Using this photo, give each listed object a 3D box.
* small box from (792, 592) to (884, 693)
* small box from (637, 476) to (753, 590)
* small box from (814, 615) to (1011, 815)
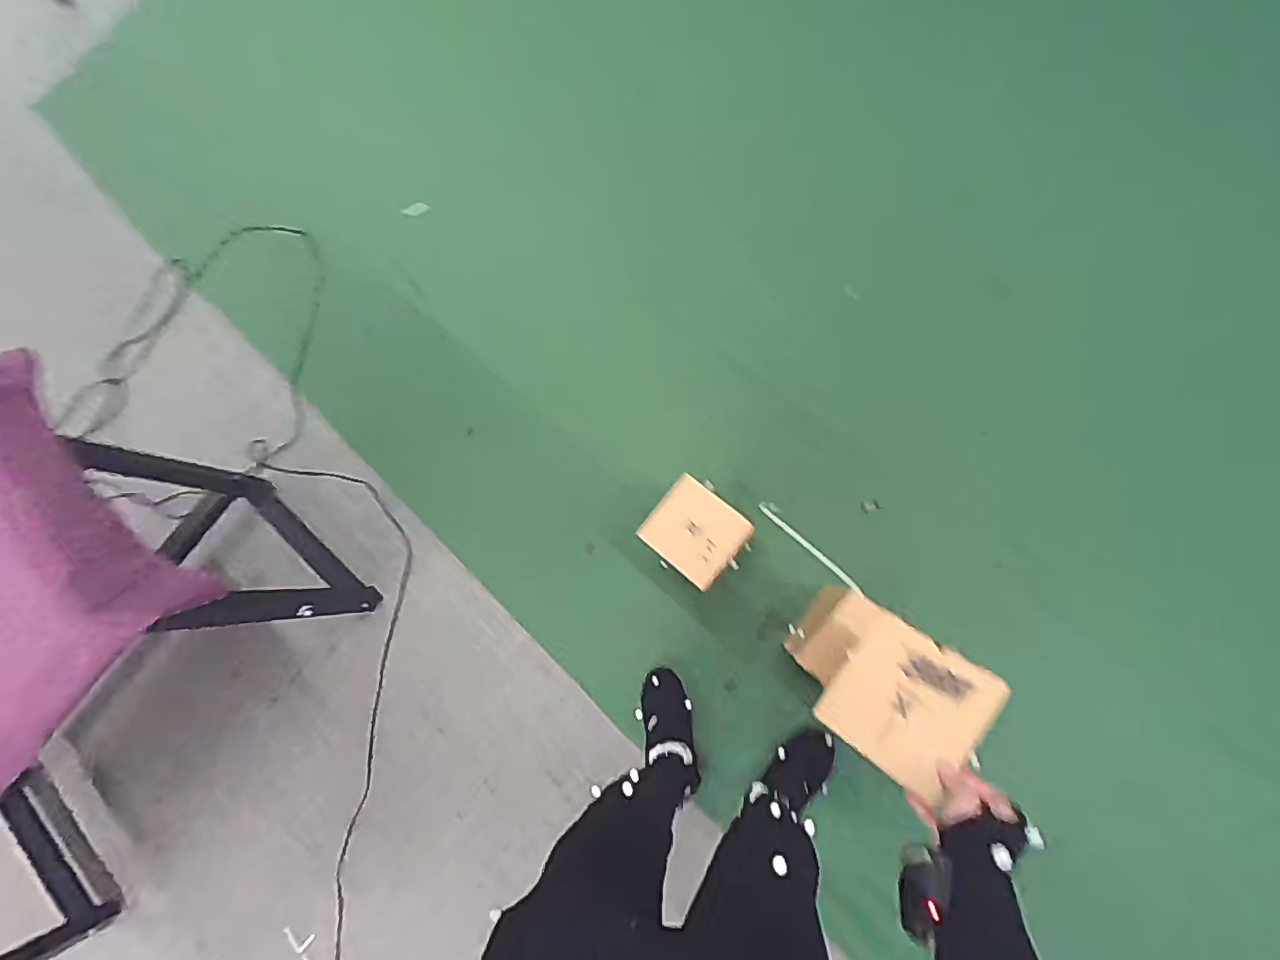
[{"bbox_3d":[0.415,0.338,1.060,0.168,0.176,0.179,40,89,14],"label":"small box"},{"bbox_3d":[0.122,0.120,1.157,0.179,0.176,0.168,40,88,15],"label":"small box"},{"bbox_3d":[0.367,0.320,0.742,0.168,0.176,0.179,33,82,37],"label":"small box"}]
